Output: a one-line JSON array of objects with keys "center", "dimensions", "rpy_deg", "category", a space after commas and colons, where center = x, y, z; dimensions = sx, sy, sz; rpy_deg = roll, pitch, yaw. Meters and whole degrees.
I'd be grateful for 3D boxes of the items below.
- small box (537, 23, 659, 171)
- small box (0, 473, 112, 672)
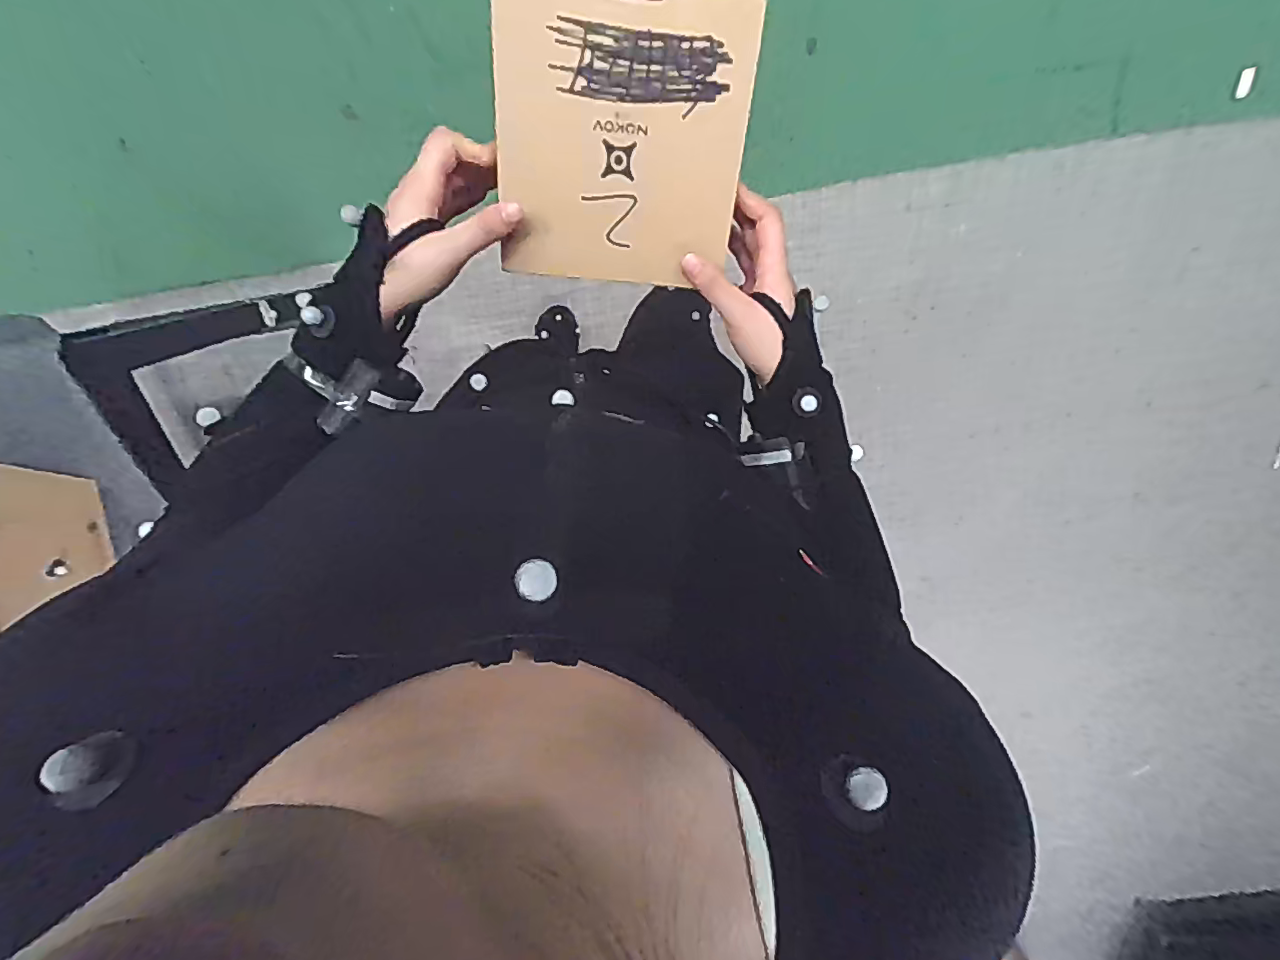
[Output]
[{"center": [-0.081, -0.754, 1.089], "dimensions": [0.179, 0.176, 0.168], "rpy_deg": [34, 110, -16], "category": "small box"}, {"center": [-0.806, 0.103, 0.661], "dimensions": [0.179, 0.176, 0.168], "rpy_deg": [11, 115, -5], "category": "small box"}]
